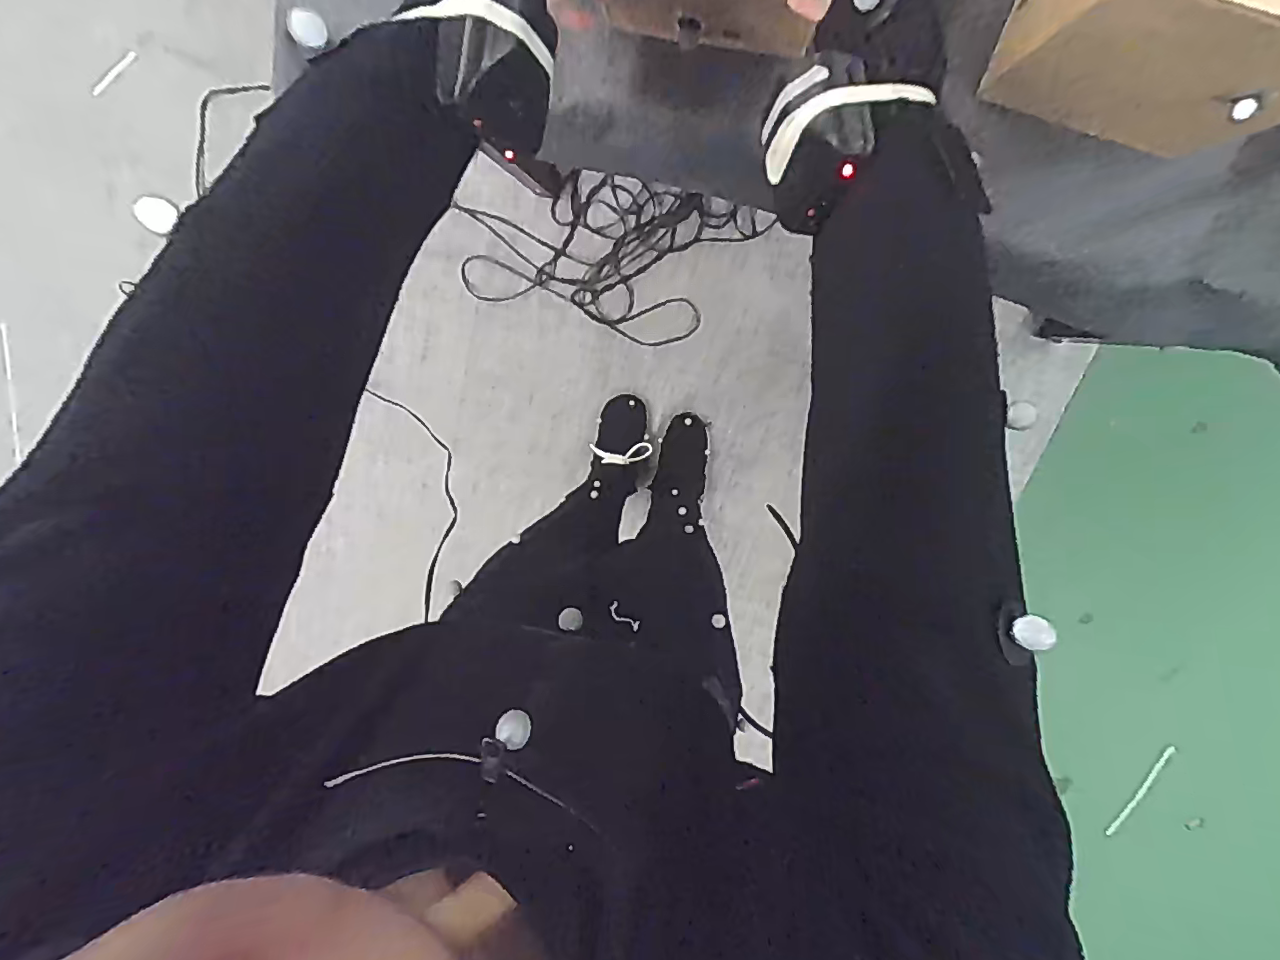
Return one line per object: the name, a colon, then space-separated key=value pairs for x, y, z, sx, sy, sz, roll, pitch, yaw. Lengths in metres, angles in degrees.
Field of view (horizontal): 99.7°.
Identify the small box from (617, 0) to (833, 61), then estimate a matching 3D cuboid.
small box: x=0.064 y=-0.419 z=0.351 sx=0.168 sy=0.176 sz=0.179 roll=10 pitch=109 yaw=4
